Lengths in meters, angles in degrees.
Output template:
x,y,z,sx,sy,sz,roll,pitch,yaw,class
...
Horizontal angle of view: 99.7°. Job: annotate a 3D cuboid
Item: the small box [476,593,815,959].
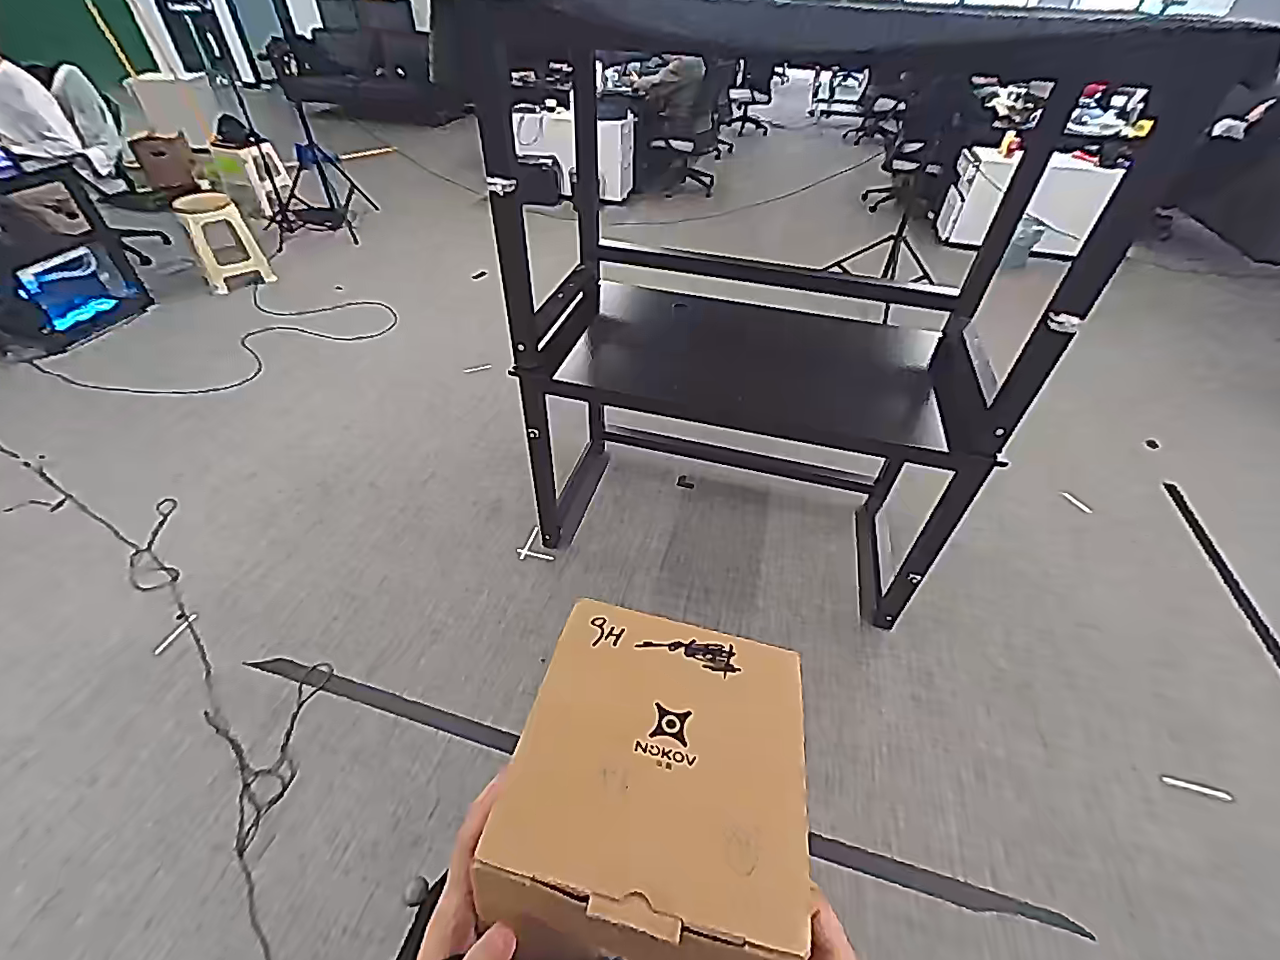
x,y,z,sx,sy,sz,roll,pitch,yaw,class
0.009,0.212,0.363,0.168,0.176,0.179,14,37,5,small box
